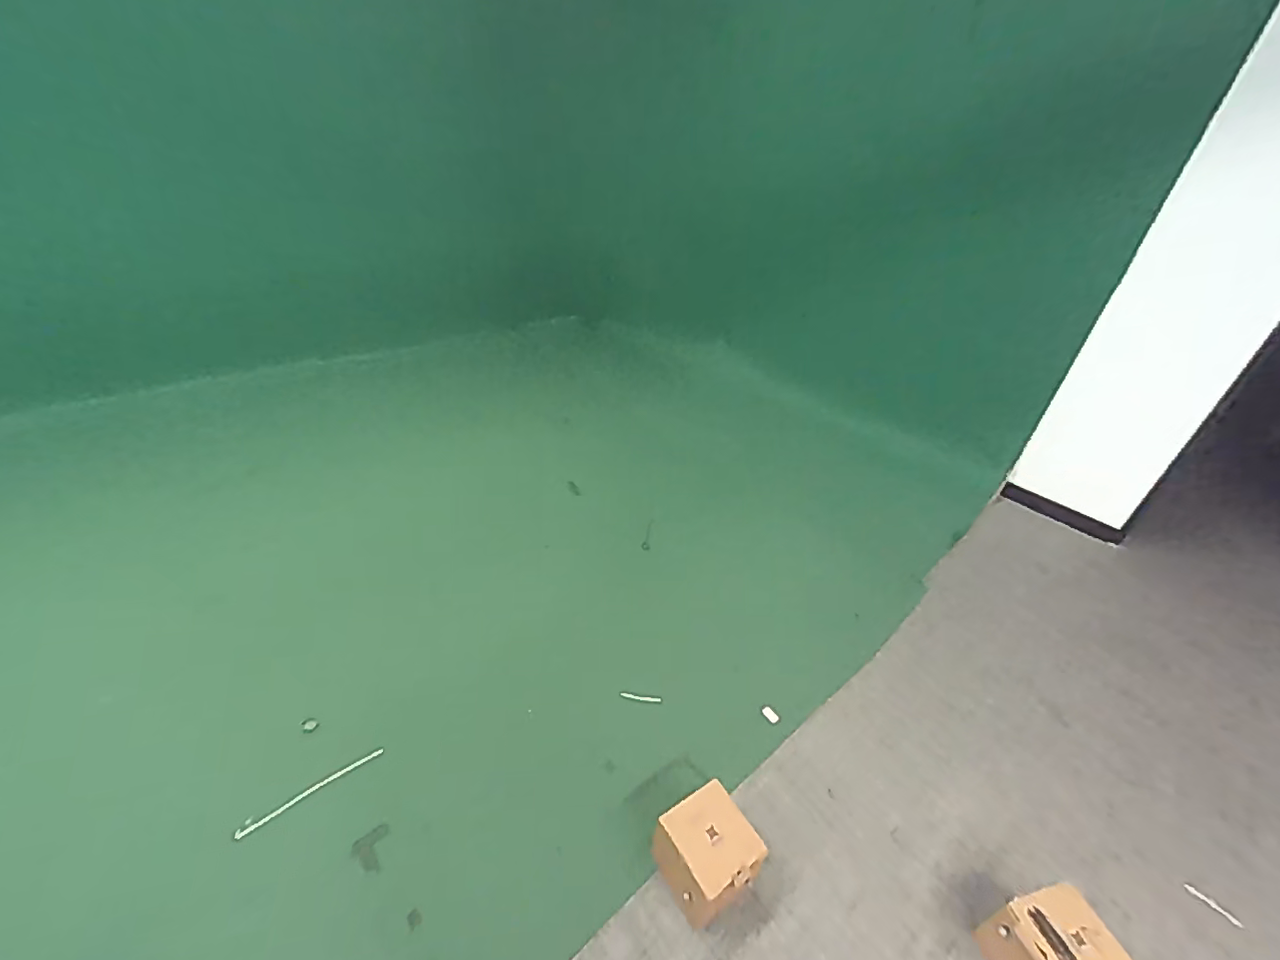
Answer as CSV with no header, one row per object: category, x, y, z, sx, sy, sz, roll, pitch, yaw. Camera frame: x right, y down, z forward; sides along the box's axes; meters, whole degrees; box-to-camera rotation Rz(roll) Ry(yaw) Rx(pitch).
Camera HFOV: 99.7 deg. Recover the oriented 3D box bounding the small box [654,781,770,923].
small box,0.149,0.808,1.169,0.168,0.176,0.179,-16,40,-31
